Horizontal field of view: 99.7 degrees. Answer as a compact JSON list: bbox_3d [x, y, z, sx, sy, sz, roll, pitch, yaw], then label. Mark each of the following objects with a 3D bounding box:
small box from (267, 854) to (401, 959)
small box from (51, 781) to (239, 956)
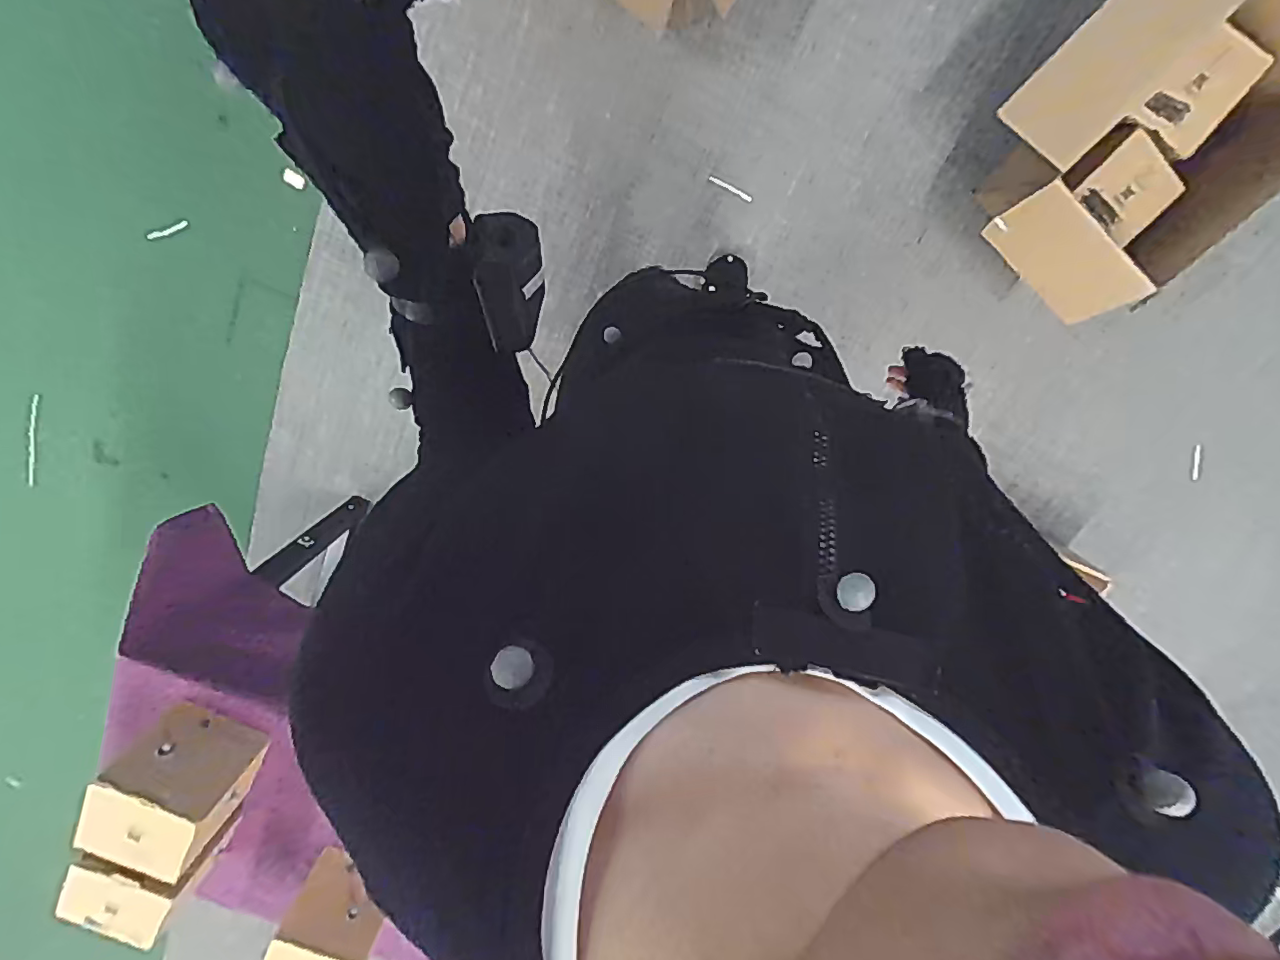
[{"bbox_3d":[-0.579,0.855,1.019,0.168,0.176,0.179,26,111,-6],"label":"small box"},{"bbox_3d":[-0.871,0.686,0.969,0.168,0.176,0.179,32,109,-9],"label":"small box"}]
